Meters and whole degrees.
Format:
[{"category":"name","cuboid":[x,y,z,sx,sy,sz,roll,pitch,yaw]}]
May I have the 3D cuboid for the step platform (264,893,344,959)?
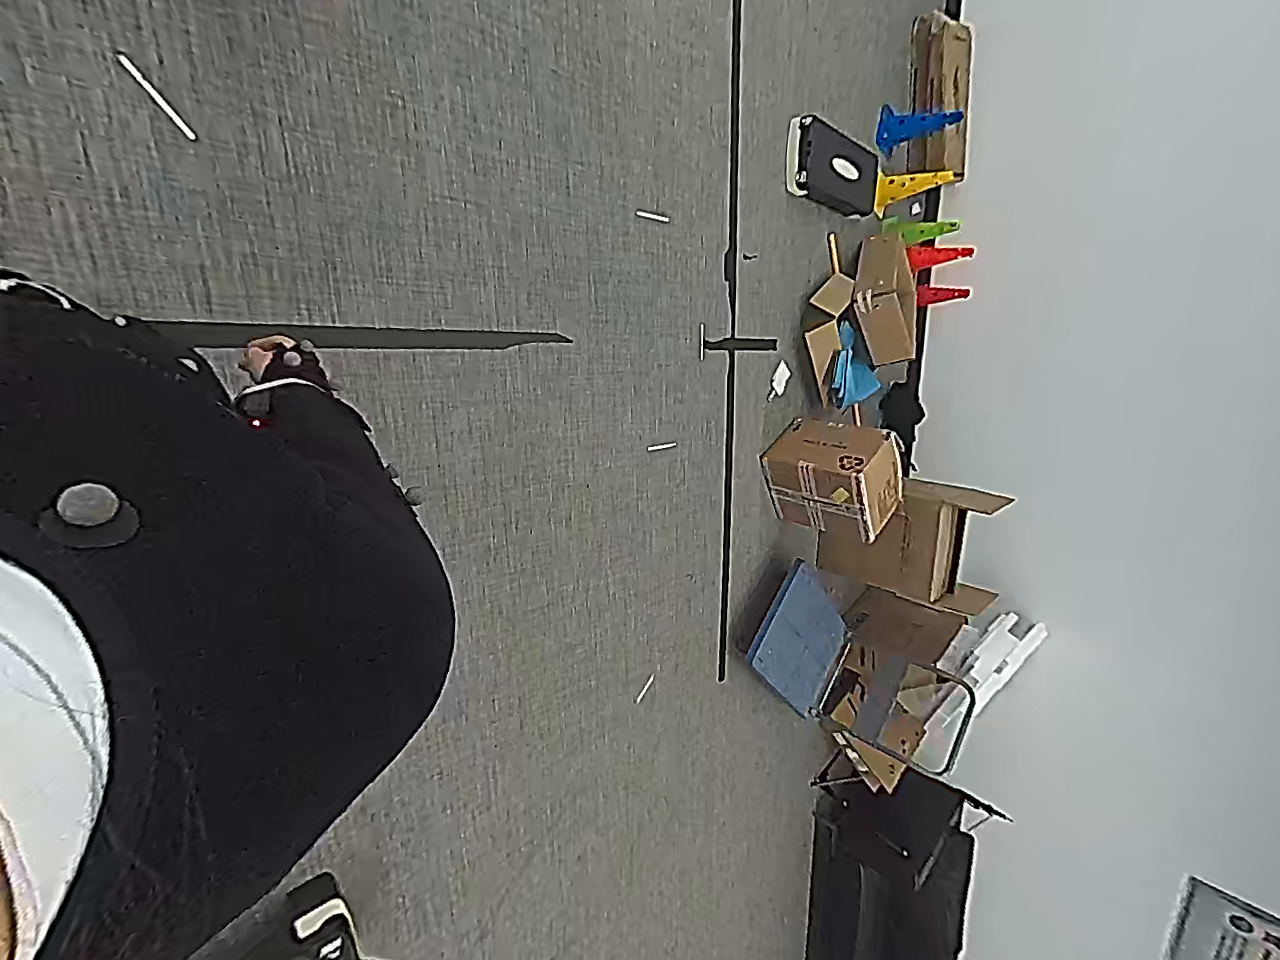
[{"category":"step platform","cuboid":[-1.021,1.275,1.170,0.684,0.204,0.286,-14,110,-43]}]
